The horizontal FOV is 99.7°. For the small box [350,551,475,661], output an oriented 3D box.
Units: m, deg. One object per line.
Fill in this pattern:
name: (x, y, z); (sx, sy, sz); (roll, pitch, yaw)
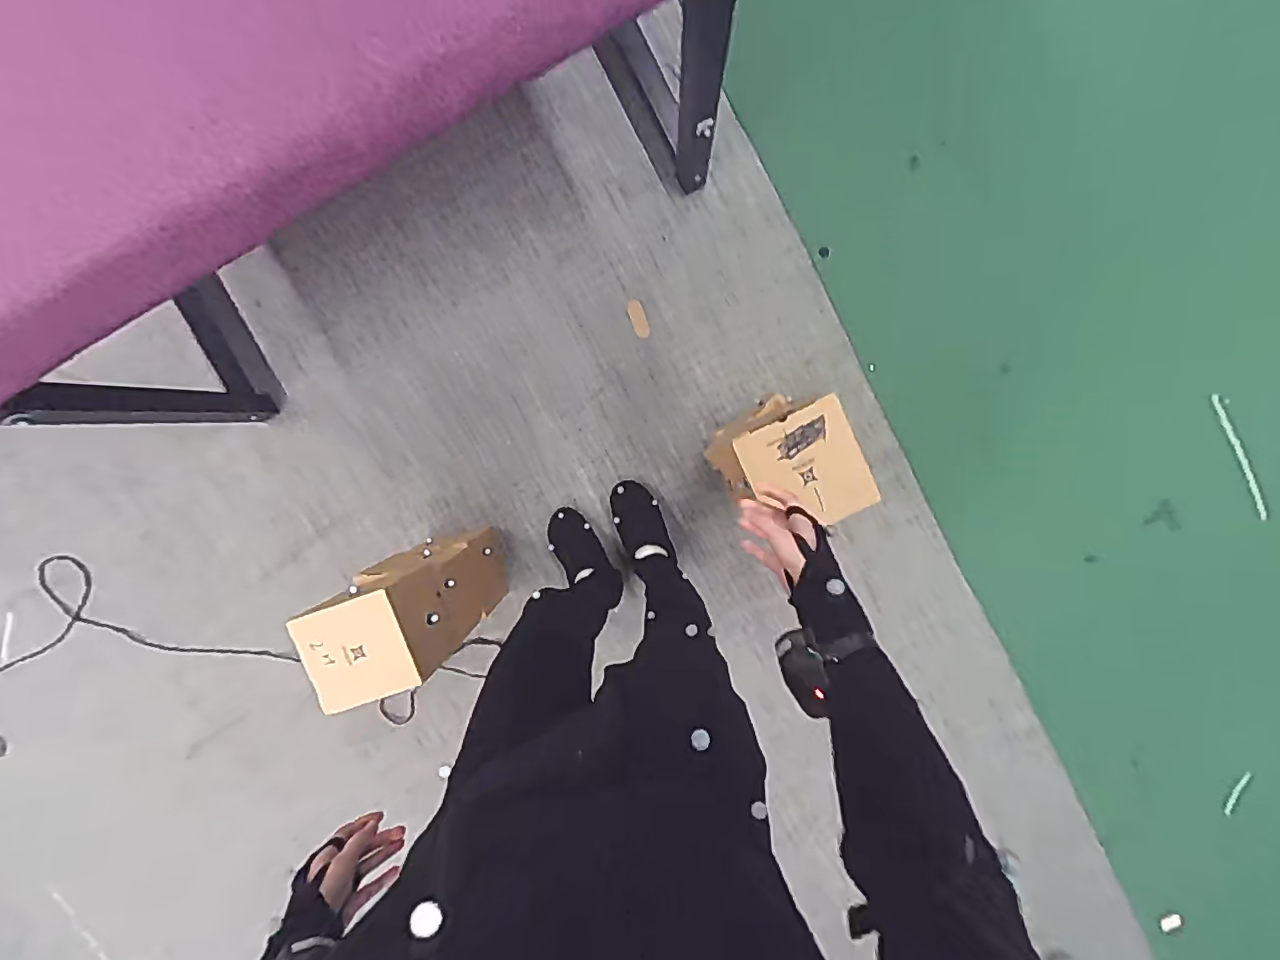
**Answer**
small box: (-0.445, 0.251, 1.085); (0.168, 0.176, 0.179); (-6, 95, 4)

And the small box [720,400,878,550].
small box: (0.240, -0.014, 0.864); (0.168, 0.176, 0.179); (-25, 96, 4)

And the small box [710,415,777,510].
small box: (0.257, -0.043, 1.191); (0.179, 0.176, 0.168); (-17, 96, 5)

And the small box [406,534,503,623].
small box: (-0.432, 0.230, 1.245); (0.168, 0.176, 0.179); (-11, 96, 4)

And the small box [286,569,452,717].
small box: (-0.443, 0.266, 0.920); (0.179, 0.176, 0.168); (-18, 94, 5)
